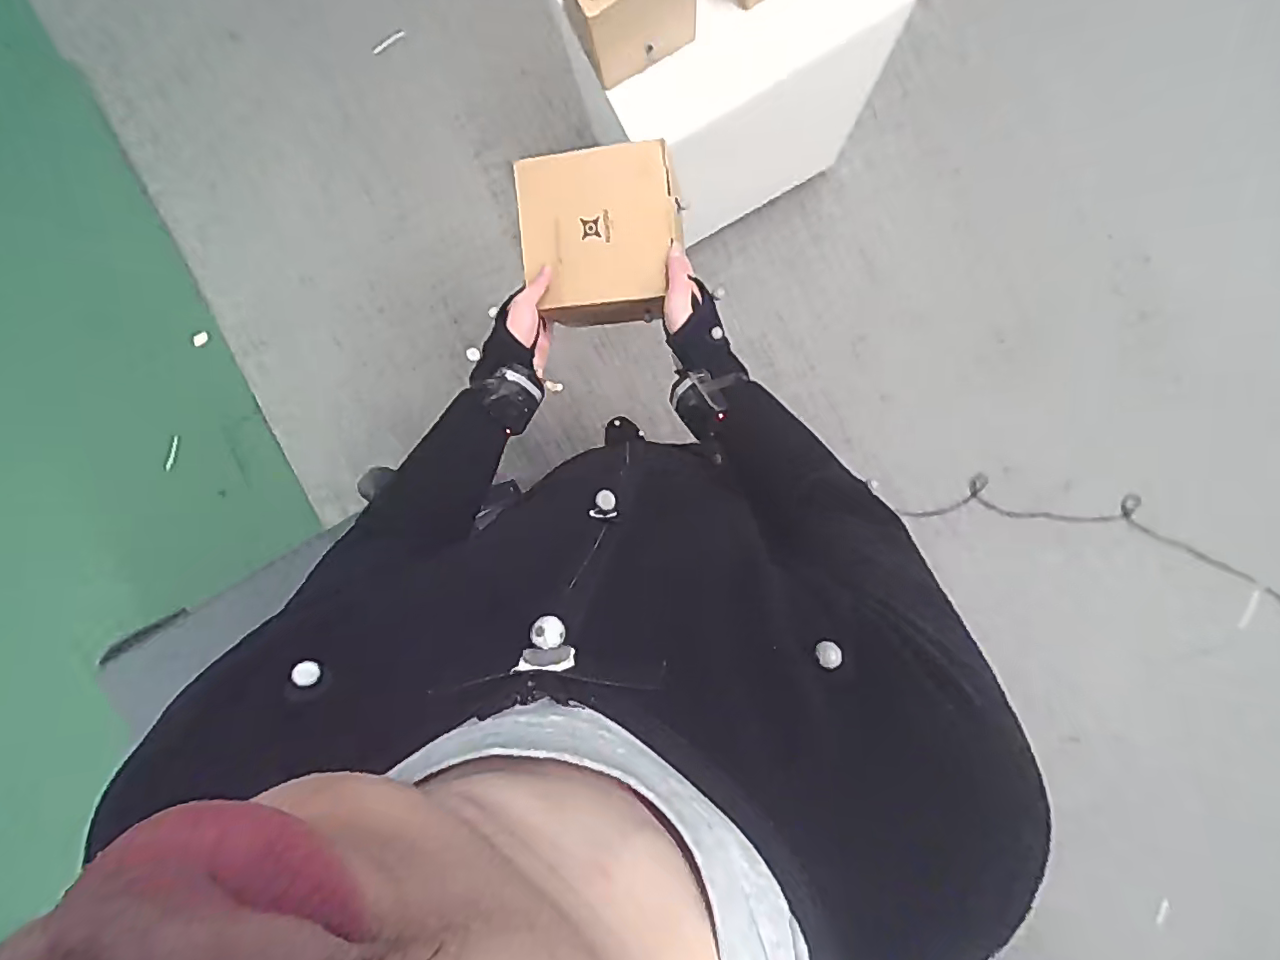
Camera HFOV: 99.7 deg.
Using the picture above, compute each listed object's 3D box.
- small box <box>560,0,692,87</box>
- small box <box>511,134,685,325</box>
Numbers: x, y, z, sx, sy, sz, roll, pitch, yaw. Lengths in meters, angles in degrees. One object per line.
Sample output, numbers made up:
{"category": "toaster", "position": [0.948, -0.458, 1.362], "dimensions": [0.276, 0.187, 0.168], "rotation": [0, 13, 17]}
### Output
{"category": "small box", "position": [-0.029, -0.756, 0.815], "dimensions": [0.179, 0.176, 0.168], "rotation": [-27, 91, 6]}
{"category": "small box", "position": [-0.038, -0.292, 0.670], "dimensions": [0.179, 0.176, 0.168], "rotation": [-3, 98, 11]}
